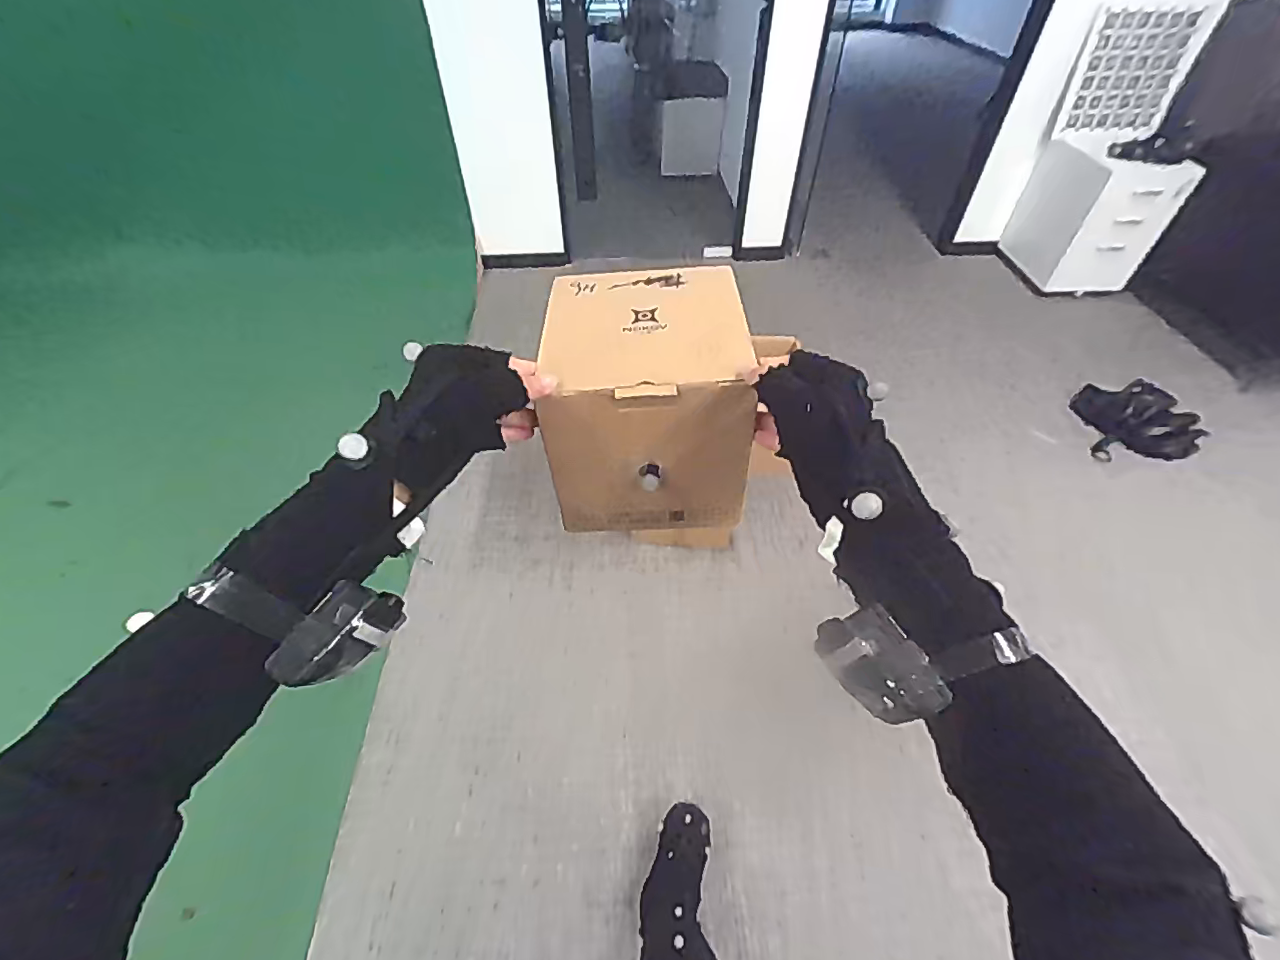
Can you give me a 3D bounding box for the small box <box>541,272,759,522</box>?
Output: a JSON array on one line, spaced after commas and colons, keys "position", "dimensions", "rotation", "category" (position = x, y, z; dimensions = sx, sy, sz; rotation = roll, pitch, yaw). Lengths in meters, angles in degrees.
[{"position": [0.013, -0.071, 0.510], "dimensions": [0.168, 0.176, 0.179], "rotation": [-2, 48, 2], "category": "small box"}]
